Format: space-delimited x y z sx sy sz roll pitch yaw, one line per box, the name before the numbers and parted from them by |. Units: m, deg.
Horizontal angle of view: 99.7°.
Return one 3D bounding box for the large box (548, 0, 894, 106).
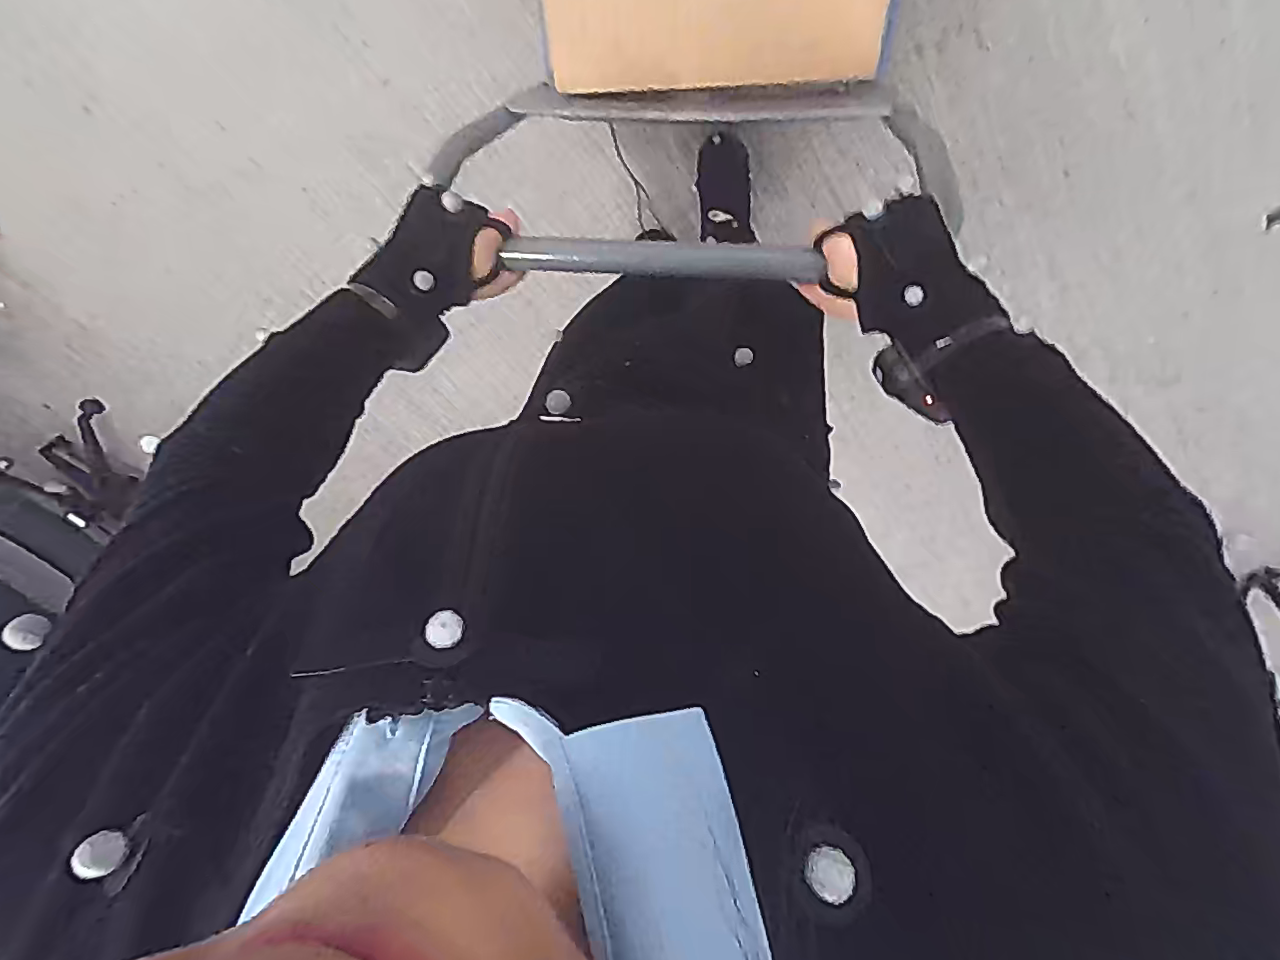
large box | 0.102 -0.694 0.694 0.408 0.320 0.320 3 131 8
